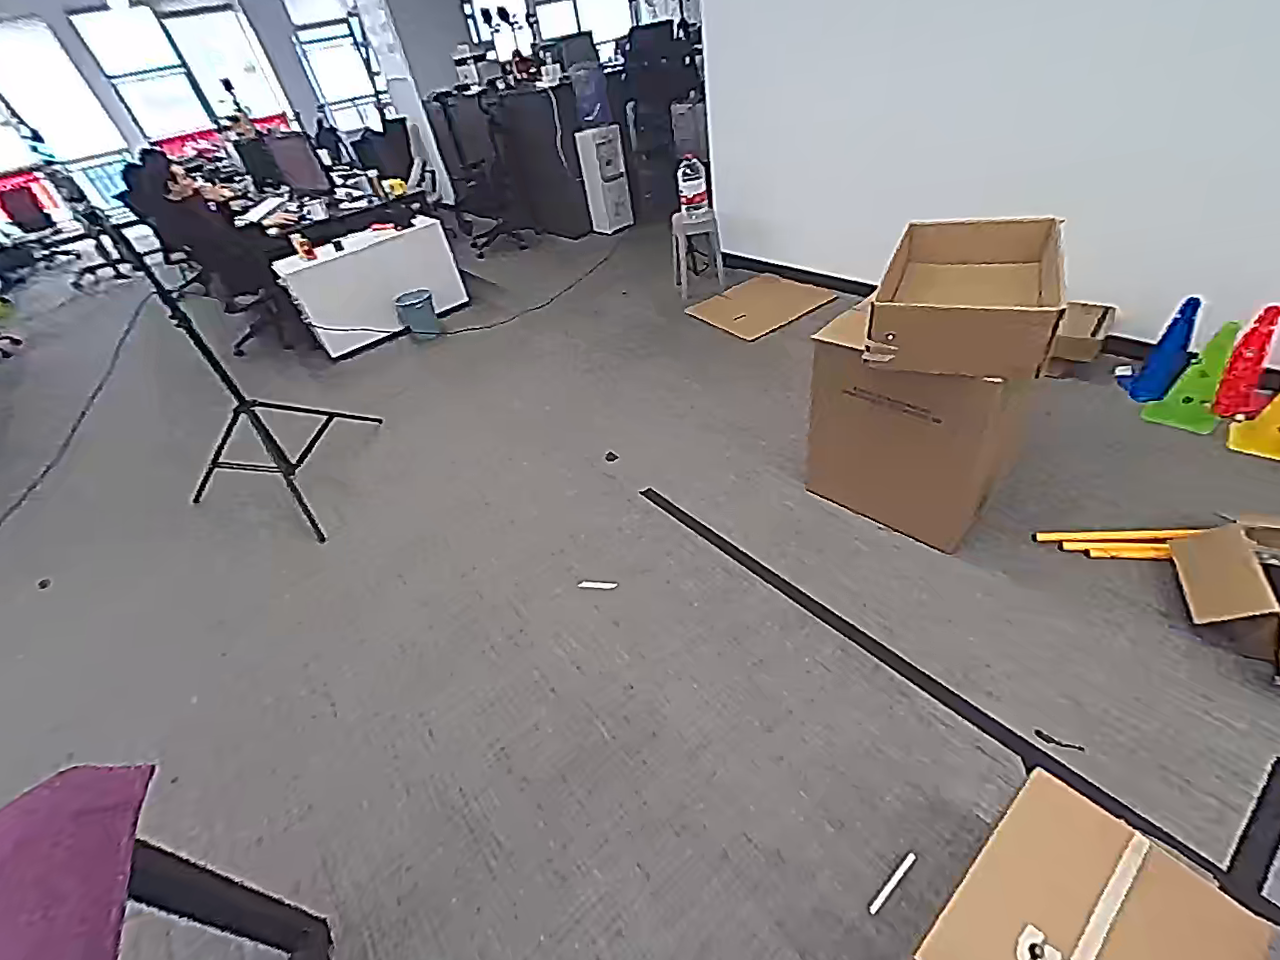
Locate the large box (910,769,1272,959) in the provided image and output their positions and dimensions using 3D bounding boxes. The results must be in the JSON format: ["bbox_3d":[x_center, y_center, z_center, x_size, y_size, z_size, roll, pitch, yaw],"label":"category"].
[{"bbox_3d":[0.682,0.787,0.880,0.408,0.320,0.320,-35,44,-24],"label":"large box"}]
